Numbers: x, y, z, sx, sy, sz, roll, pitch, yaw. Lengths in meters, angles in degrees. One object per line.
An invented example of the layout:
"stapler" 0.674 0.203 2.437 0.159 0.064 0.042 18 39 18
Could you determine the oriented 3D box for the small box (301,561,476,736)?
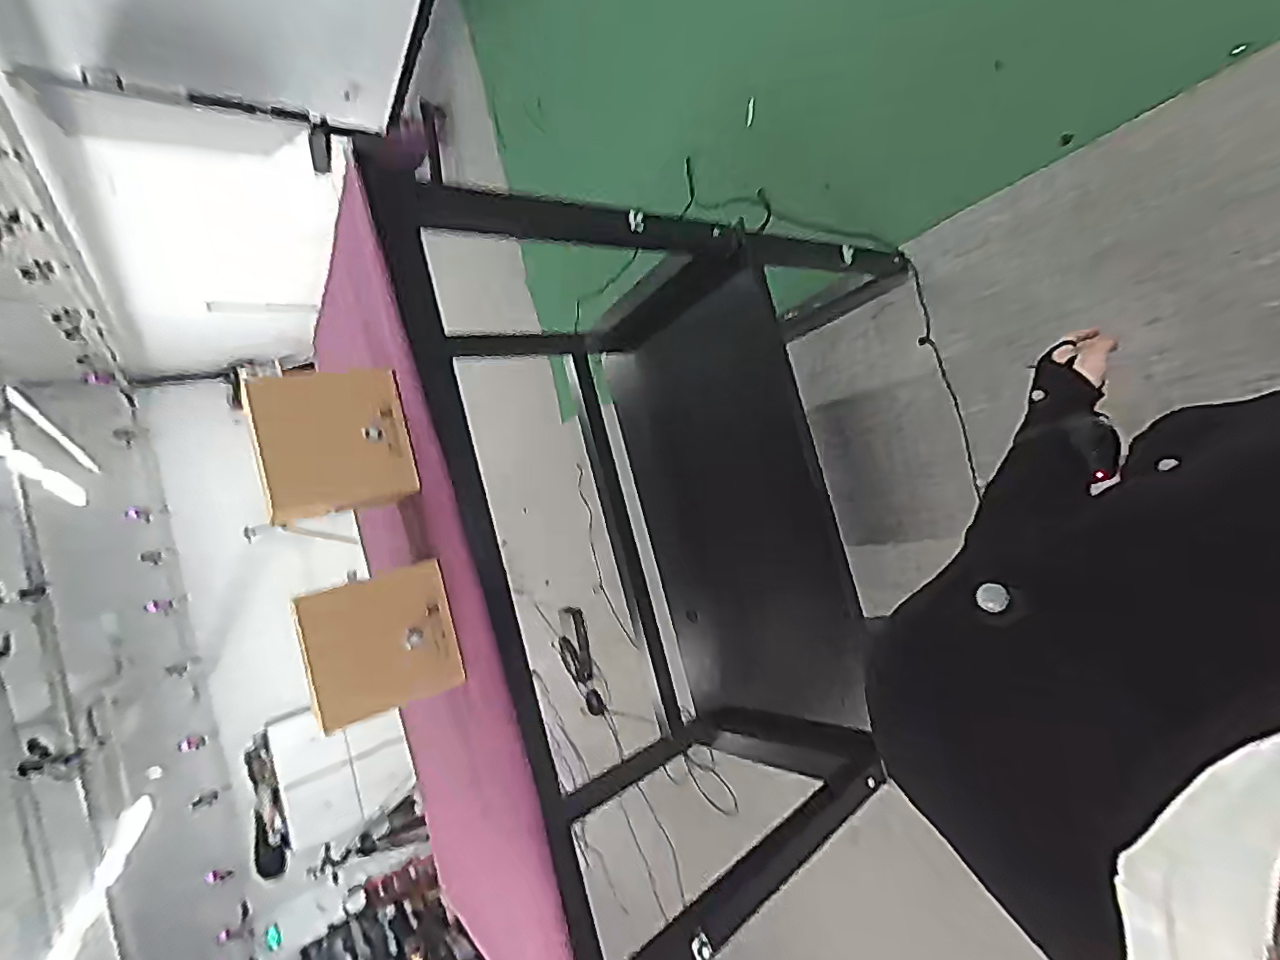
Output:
"small box" -0.340 0.213 0.729 0.179 0.176 0.168 -19 86 53
